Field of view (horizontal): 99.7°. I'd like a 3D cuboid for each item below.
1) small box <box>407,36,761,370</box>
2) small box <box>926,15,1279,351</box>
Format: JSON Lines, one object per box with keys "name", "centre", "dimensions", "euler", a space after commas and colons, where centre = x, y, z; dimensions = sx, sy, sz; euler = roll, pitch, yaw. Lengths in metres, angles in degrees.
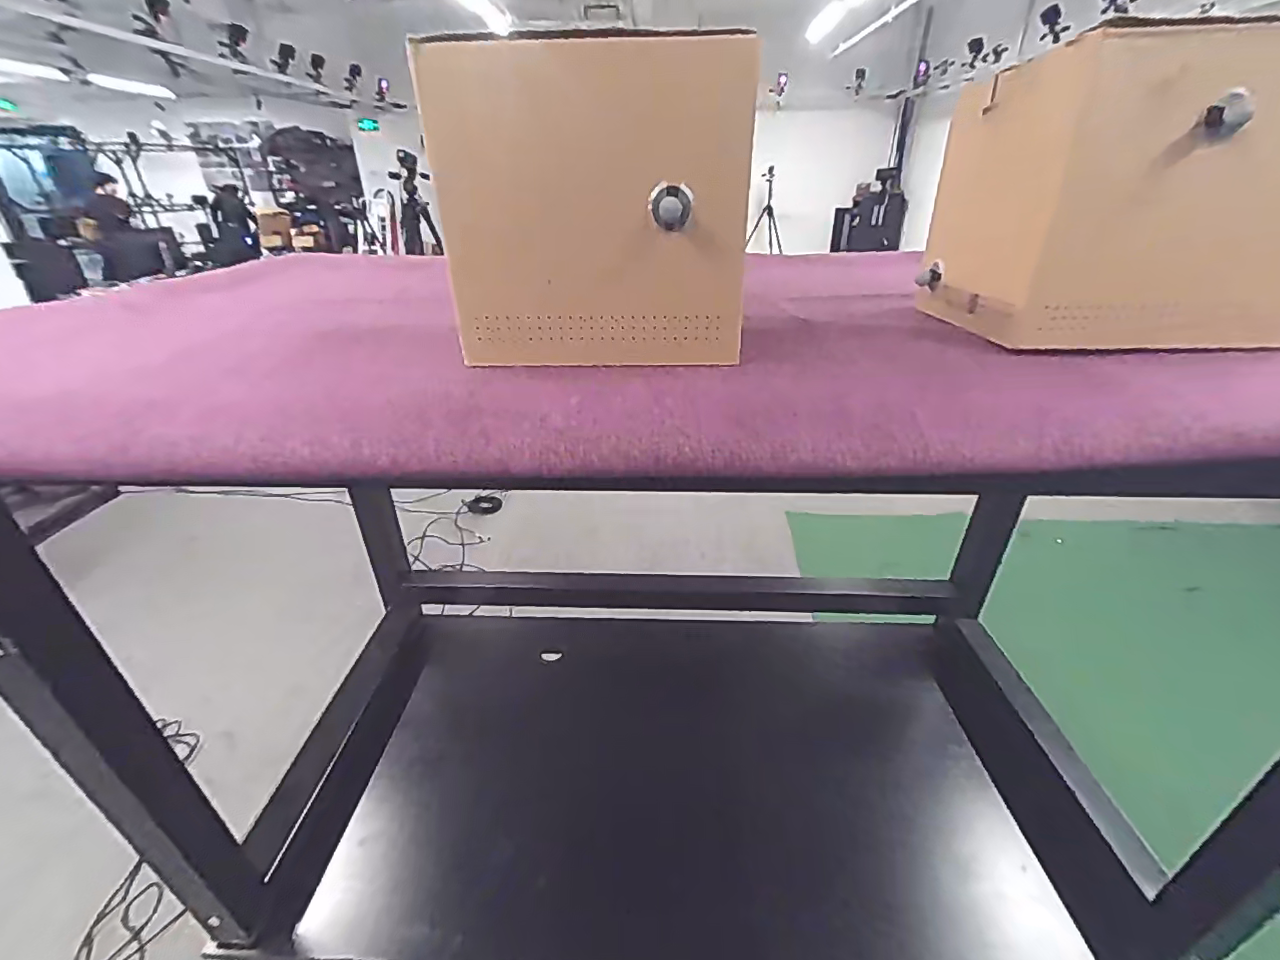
{"name": "small box", "centre": [-0.025, -0.179, 0.370], "dimensions": [0.179, 0.176, 0.168], "euler": [-1, 29, 1]}
{"name": "small box", "centre": [0.324, -0.190, 0.377], "dimensions": [0.179, 0.176, 0.168], "euler": [1, 28, 3]}
